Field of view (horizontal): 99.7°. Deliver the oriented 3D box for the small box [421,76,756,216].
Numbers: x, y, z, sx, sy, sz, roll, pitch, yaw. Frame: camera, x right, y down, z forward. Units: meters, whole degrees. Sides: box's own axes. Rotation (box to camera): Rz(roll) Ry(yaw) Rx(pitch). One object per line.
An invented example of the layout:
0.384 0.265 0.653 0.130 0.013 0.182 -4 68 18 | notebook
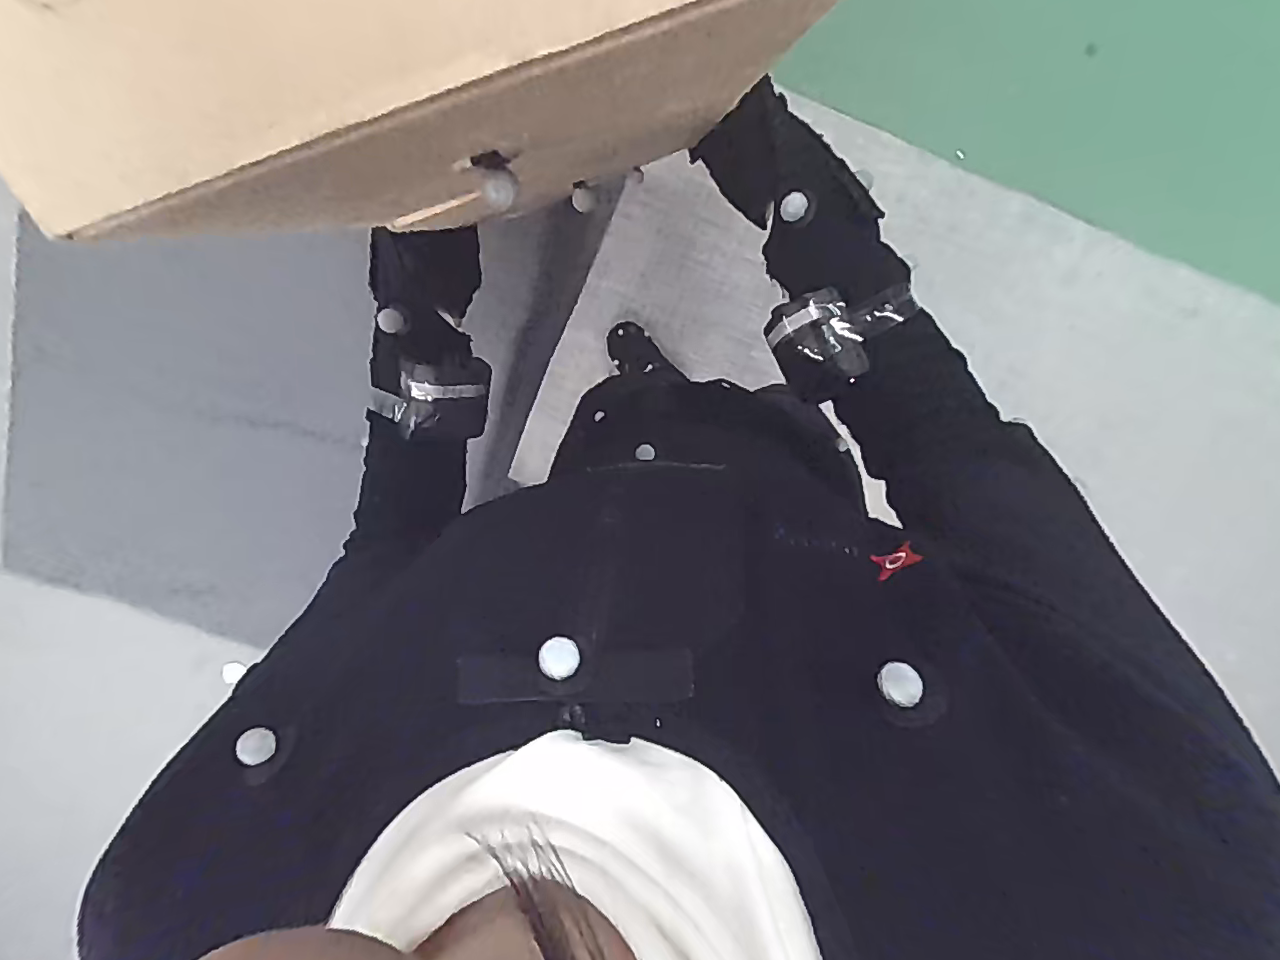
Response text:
-0.055 -0.254 0.288 0.179 0.176 0.168 -16 115 5 | small box
